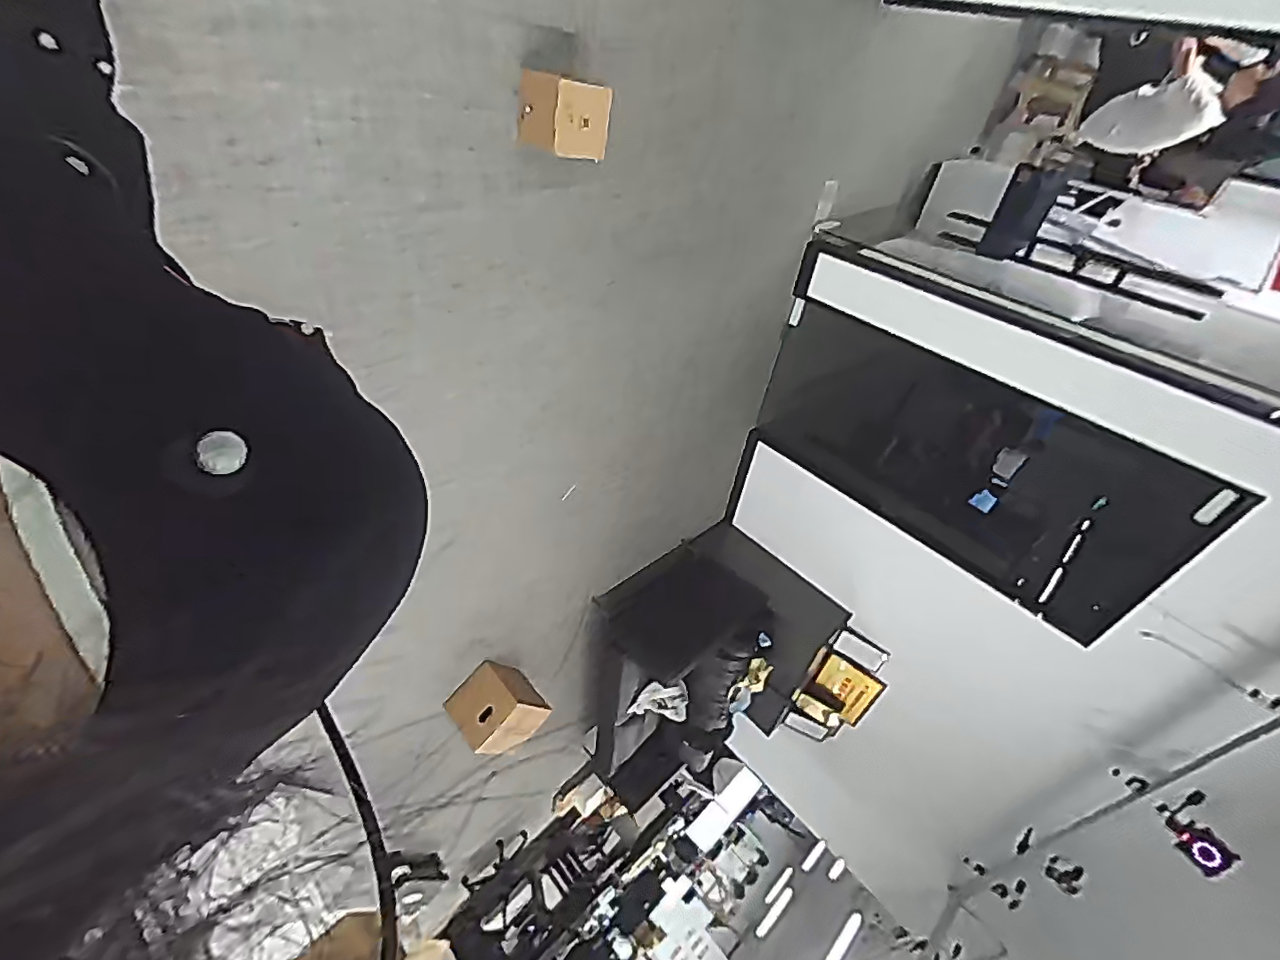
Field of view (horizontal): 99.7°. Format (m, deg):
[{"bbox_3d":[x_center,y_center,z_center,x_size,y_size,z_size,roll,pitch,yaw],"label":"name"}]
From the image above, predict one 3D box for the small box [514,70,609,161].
[{"bbox_3d":[-0.211,-0.965,1.433,0.179,0.176,0.168,-24,140,-39],"label":"small box"}]
